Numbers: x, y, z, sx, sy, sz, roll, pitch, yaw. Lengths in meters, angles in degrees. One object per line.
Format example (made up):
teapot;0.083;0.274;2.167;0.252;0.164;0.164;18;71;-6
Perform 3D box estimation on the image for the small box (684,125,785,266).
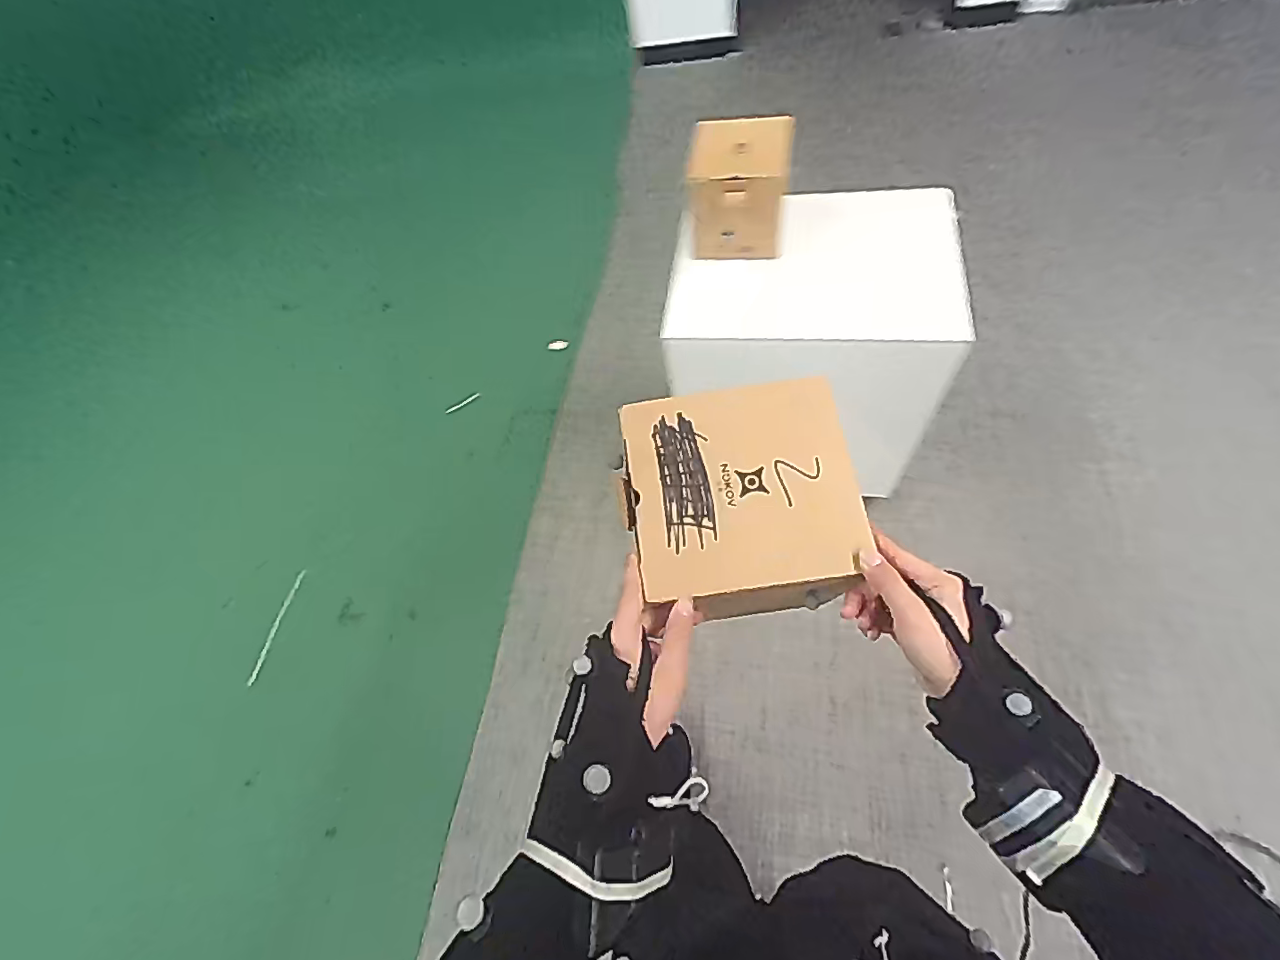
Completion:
small box;0.177;-0.533;1.019;0.168;0.176;0.179;4;63;11
